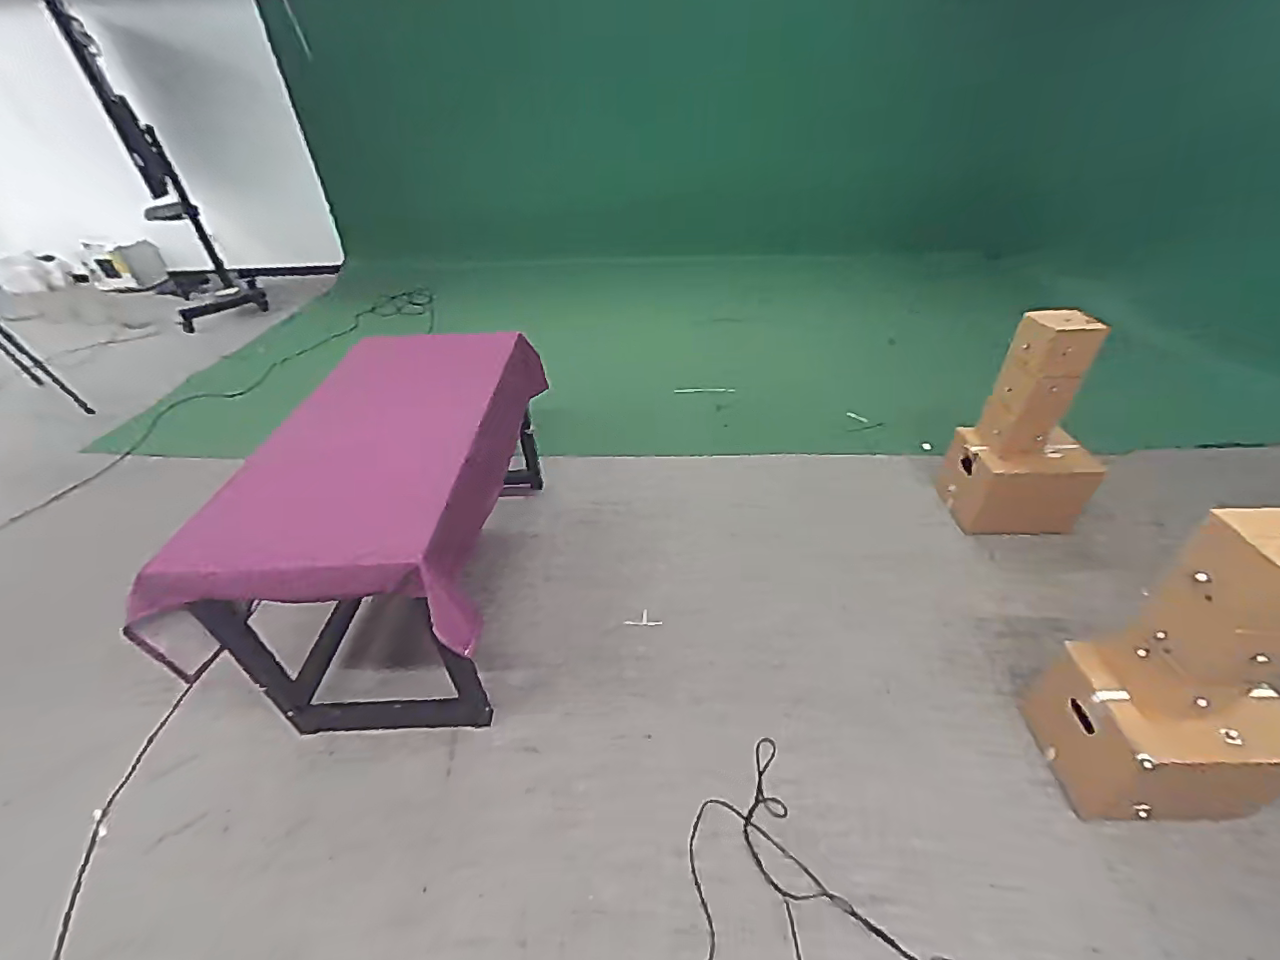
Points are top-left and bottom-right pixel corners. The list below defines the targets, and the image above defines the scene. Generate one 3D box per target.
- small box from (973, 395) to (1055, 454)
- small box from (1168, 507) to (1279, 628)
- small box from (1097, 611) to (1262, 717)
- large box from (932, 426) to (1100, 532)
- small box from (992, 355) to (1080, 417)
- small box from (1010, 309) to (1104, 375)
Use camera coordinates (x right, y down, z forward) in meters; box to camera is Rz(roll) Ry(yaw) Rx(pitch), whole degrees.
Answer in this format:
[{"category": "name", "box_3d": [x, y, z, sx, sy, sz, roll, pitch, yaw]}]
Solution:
[{"category": "small box", "box_3d": [1.394, -0.207, 2.027, 0.168, 0.176, 0.179, -1, 37, 1]}, {"category": "small box", "box_3d": [1.192, 0.168, 1.033, 0.179, 0.176, 0.168, -1, 37, 5]}, {"category": "small box", "box_3d": [1.218, 0.424, 1.239, 0.168, 0.176, 0.179, -2, 37, 1]}, {"category": "large box", "box_3d": [1.471, -0.006, 2.161, 0.408, 0.320, 0.320, 0, 38, 2]}, {"category": "small box", "box_3d": [1.396, -0.336, 1.925, 0.179, 0.176, 0.168, -3, 39, -3]}, {"category": "small box", "box_3d": [1.390, -0.464, 1.822, 0.179, 0.176, 0.168, -3, 38, 0]}]
